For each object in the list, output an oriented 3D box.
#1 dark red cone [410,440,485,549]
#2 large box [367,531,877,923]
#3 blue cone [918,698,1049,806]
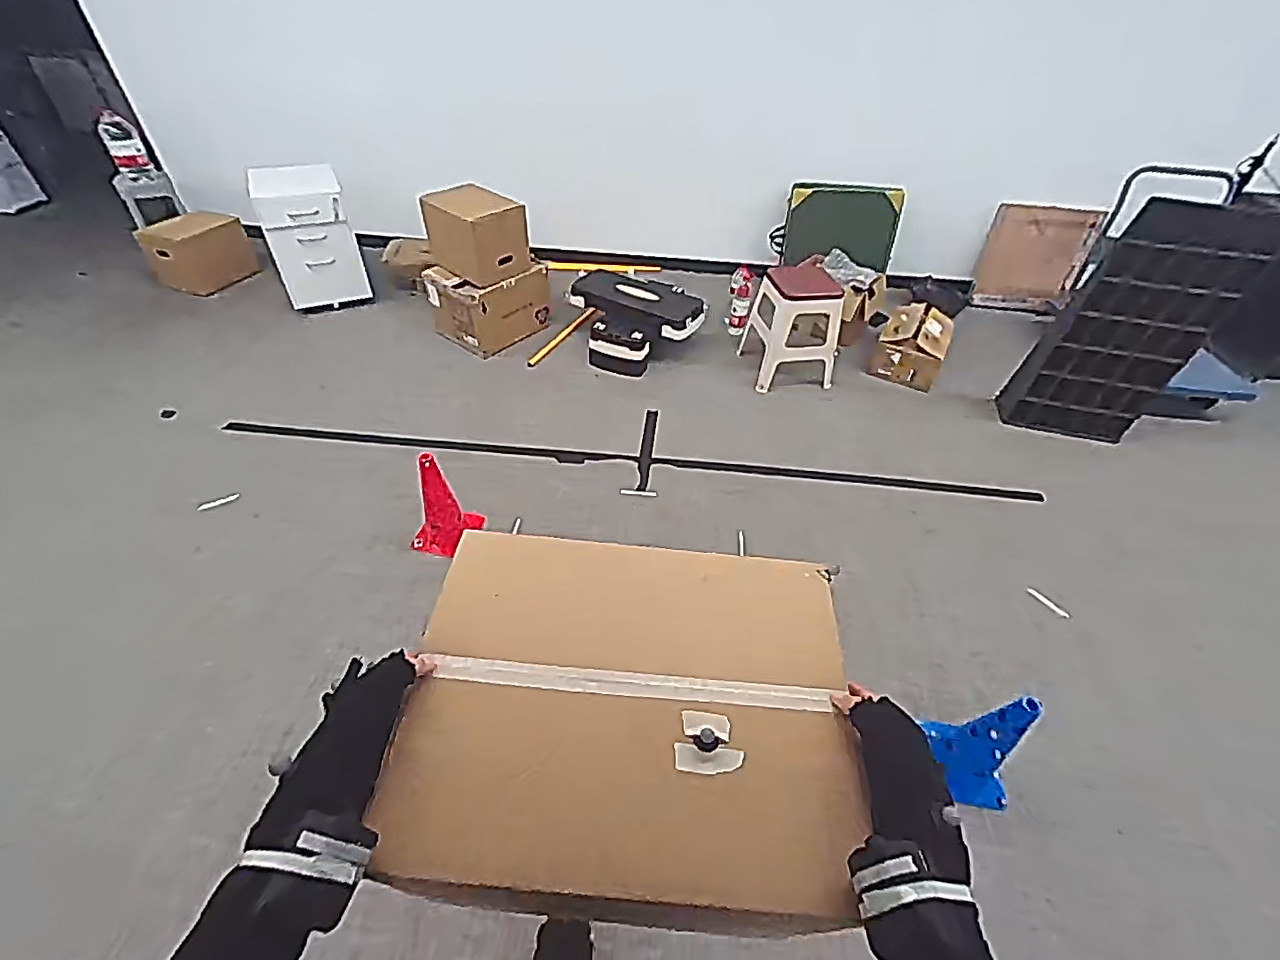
[{"bbox_3d":[-0.650,0.033,1.754,0.201,0.394,0.202,11,45,6],"label":"dark red cone"},{"bbox_3d":[-0.016,0.287,0.621,0.408,0.320,0.320,6,48,0],"label":"large box"},{"bbox_3d":[0.846,0.621,1.301,0.192,0.380,0.193,9,44,4],"label":"blue cone"}]
